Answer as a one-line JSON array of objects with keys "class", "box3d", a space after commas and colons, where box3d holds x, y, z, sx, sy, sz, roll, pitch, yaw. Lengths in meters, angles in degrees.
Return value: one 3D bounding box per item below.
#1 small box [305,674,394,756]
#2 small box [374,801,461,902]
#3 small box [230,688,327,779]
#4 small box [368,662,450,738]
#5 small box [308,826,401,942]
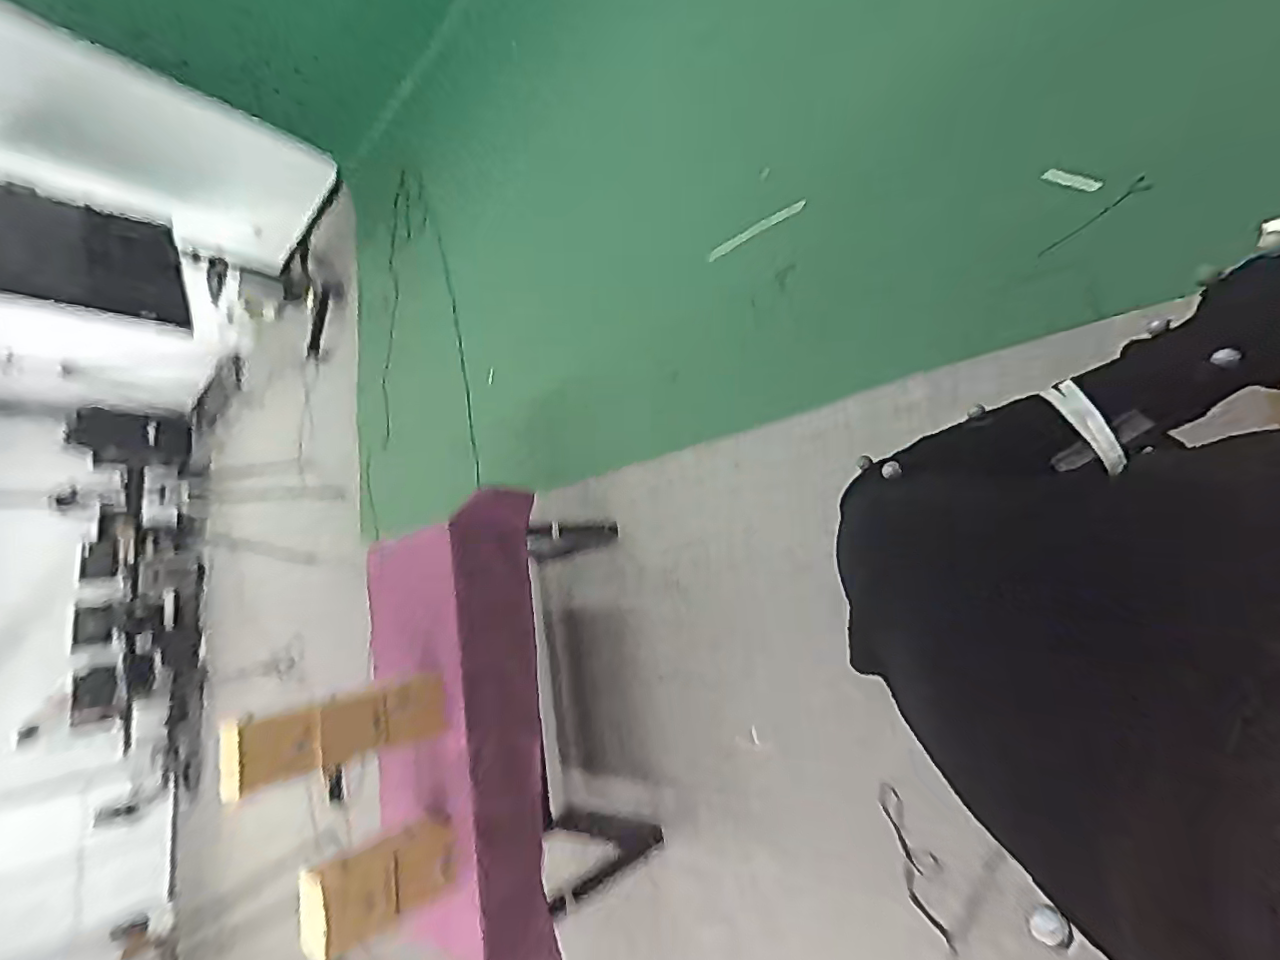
[{"class": "small box", "box3d": [-0.789, 0.629, 1.466, 0.179, 0.176, 0.168, -20, 75, 39]}, {"class": "small box", "box3d": [-0.621, 1.023, 1.510, 0.179, 0.176, 0.168, -16, 76, 40]}, {"class": "small box", "box3d": [-0.902, 0.626, 1.350, 0.179, 0.176, 0.168, -23, 73, 39]}, {"class": "small box", "box3d": [-0.676, 0.635, 1.585, 0.168, 0.176, 0.179, -19, 75, 41]}, {"class": "small box", "box3d": [-0.726, 1.017, 1.383, 0.179, 0.176, 0.168, -16, 76, 40]}]
